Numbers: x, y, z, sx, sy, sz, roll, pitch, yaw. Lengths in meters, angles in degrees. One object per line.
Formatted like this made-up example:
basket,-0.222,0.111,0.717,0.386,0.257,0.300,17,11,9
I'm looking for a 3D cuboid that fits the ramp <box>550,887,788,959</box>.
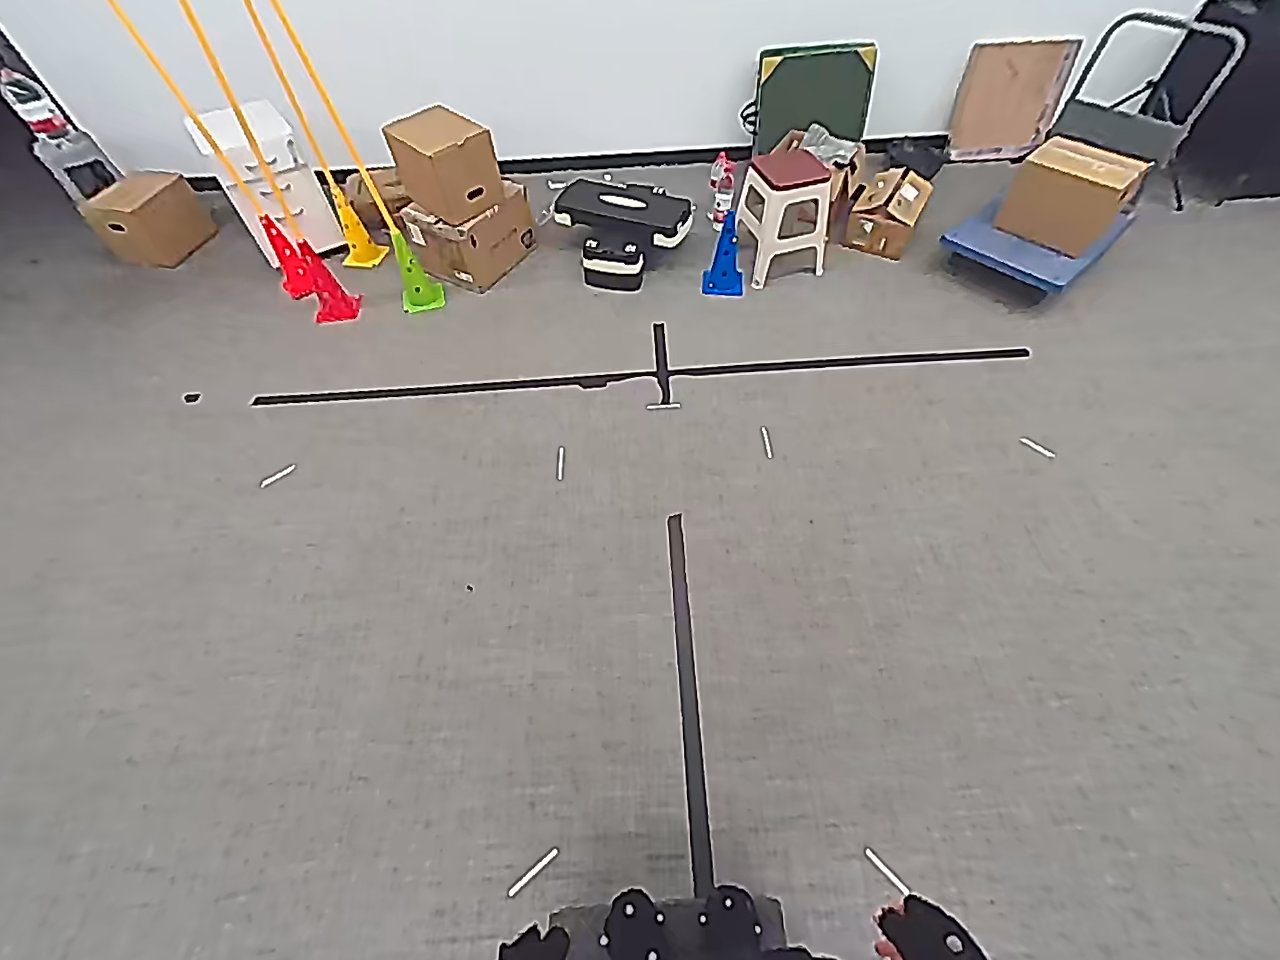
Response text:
ramp,0.085,1.334,0.938,0.509,0.206,0.991,-4,54,-2
